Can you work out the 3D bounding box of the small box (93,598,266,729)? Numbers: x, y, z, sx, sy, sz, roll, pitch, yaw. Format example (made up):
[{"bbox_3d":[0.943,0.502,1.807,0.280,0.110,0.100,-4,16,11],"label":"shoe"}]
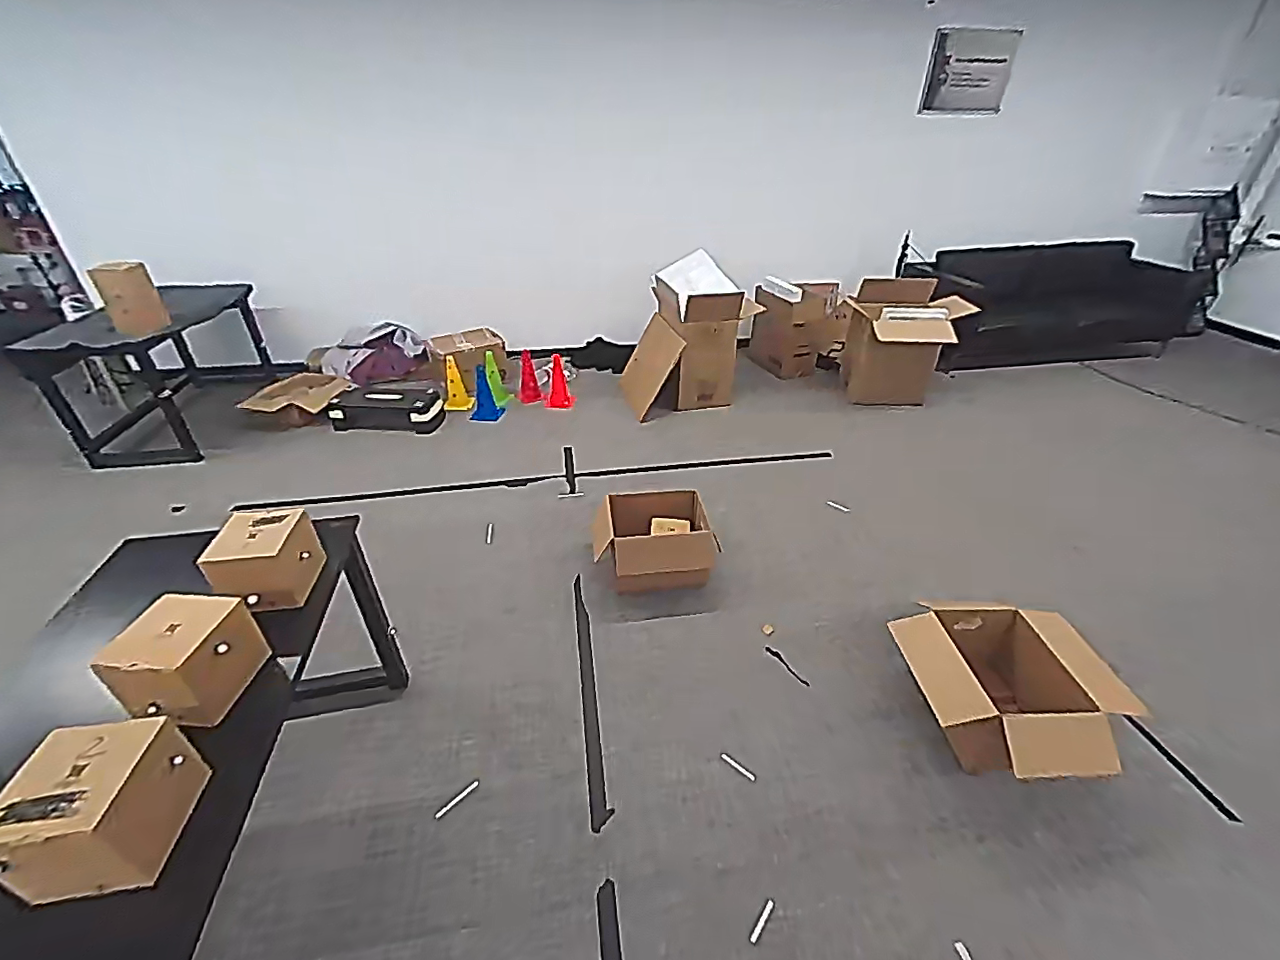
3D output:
[{"bbox_3d":[-0.875,0.354,1.054,0.168,0.176,0.179,1,34,3],"label":"small box"}]

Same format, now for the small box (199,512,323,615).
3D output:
[{"bbox_3d":[-0.885,0.197,1.287,0.168,0.176,0.179,-5,35,-6],"label":"small box"}]
